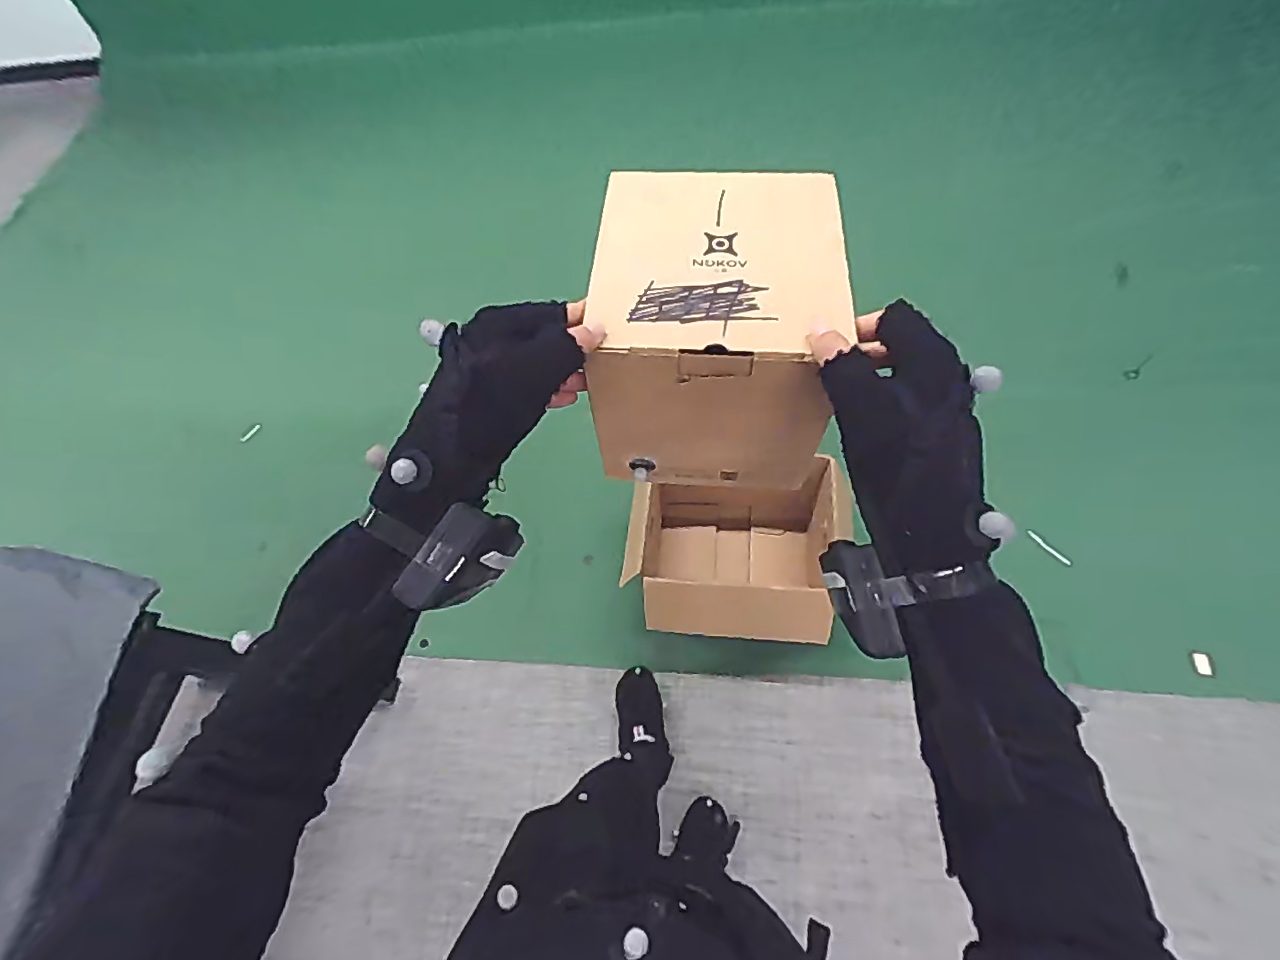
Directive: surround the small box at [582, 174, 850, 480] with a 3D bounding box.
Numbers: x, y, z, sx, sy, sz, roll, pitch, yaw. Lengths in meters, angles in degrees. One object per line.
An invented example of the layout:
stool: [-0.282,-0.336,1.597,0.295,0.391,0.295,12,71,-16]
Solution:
small box: [0.057,-0.114,0.434,0.168,0.176,0.179,3,60,5]
